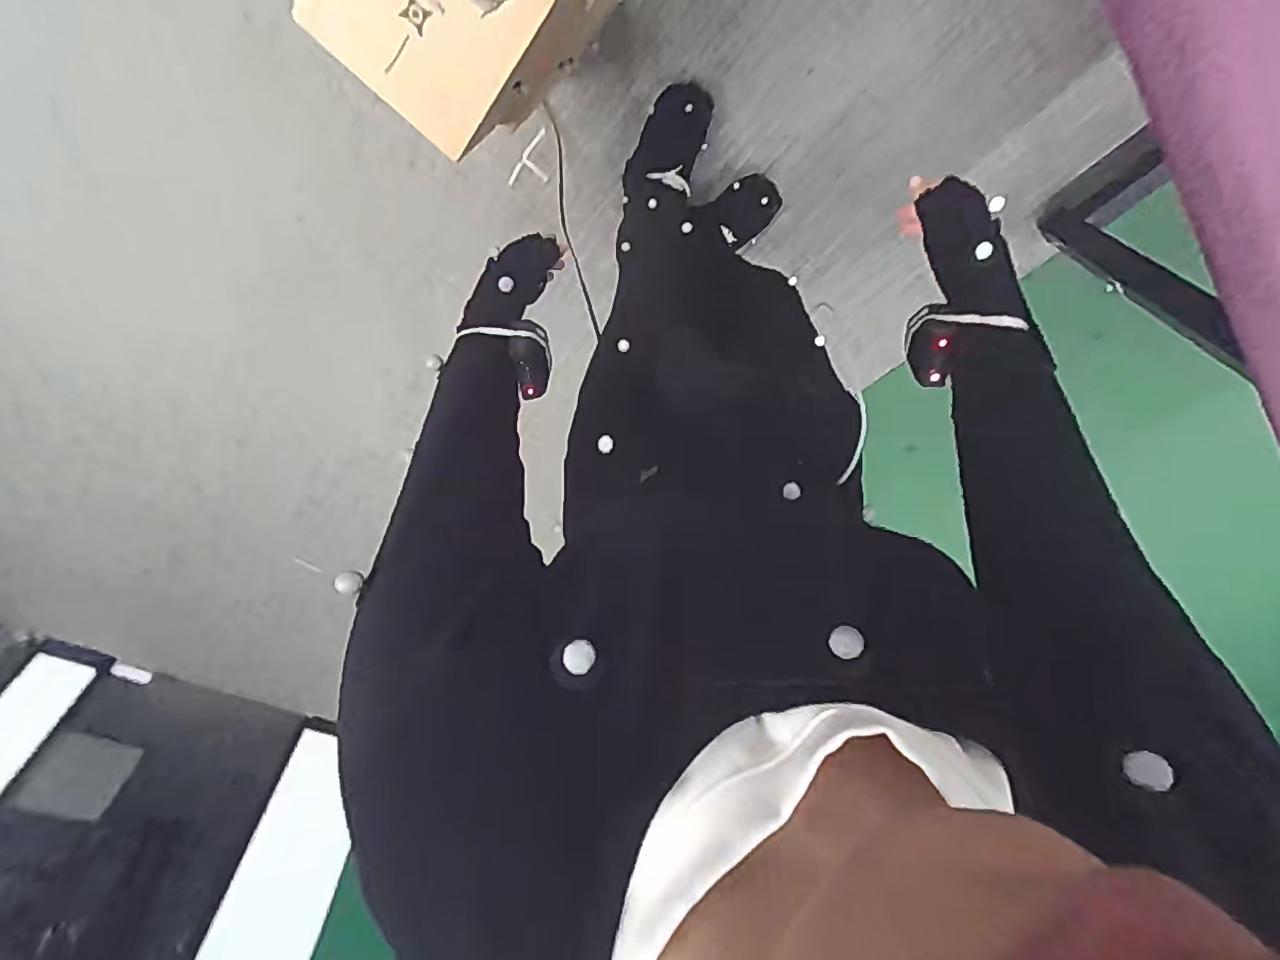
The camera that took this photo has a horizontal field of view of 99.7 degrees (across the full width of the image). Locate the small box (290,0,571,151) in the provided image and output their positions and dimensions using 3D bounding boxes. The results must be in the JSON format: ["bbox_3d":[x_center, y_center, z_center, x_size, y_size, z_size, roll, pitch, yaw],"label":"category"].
[{"bbox_3d":[-0.174,-0.458,0.498,0.179,0.176,0.168,-33,124,33],"label":"small box"}]
